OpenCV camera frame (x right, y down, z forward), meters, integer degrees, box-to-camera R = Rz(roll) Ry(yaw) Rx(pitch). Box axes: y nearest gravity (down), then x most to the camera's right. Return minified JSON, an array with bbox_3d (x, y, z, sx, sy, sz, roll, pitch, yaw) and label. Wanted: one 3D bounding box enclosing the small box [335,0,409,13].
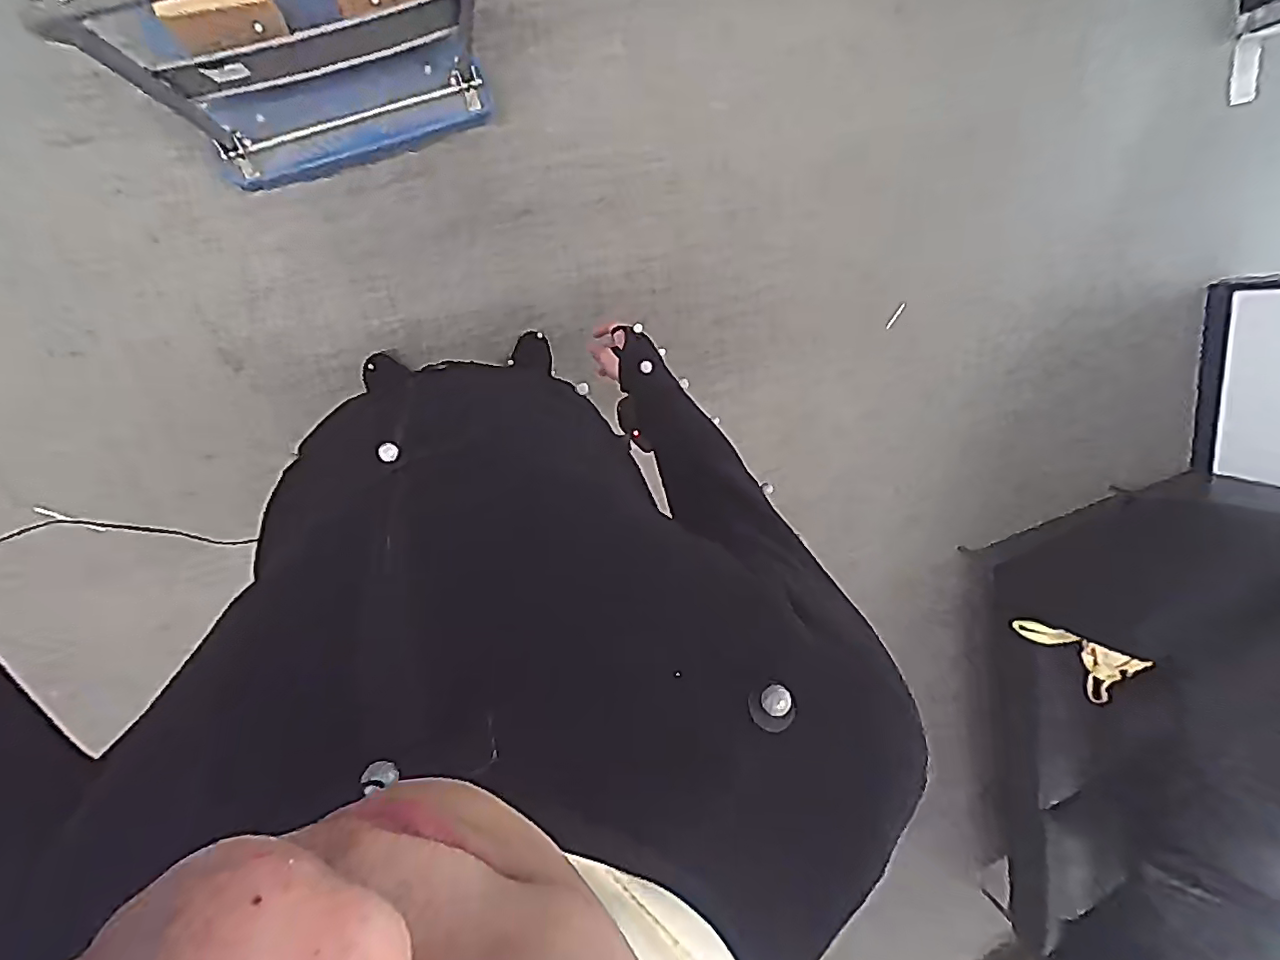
[{"bbox_3d":[-0.526,-1.014,0.988,0.168,0.176,0.179,-23,112,-10],"label":"small box"}]
